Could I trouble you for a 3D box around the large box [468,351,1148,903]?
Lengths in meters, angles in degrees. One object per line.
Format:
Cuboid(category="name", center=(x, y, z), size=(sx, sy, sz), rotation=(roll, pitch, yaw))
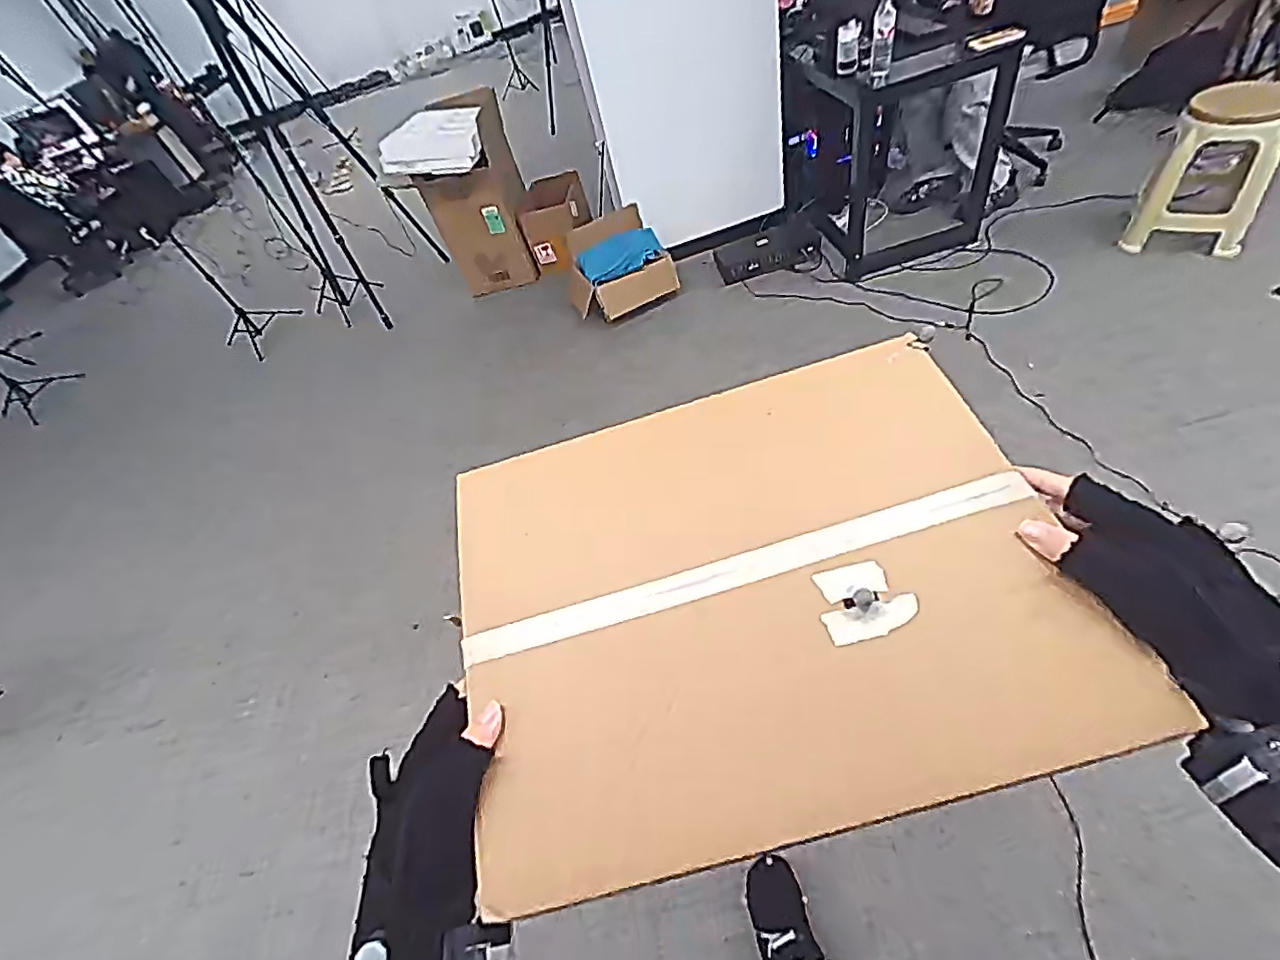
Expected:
Cuboid(category="large box", center=(0.097, 0.145, 0.519), size=(0.408, 0.320, 0.320), rotation=(-17, 58, 2))
